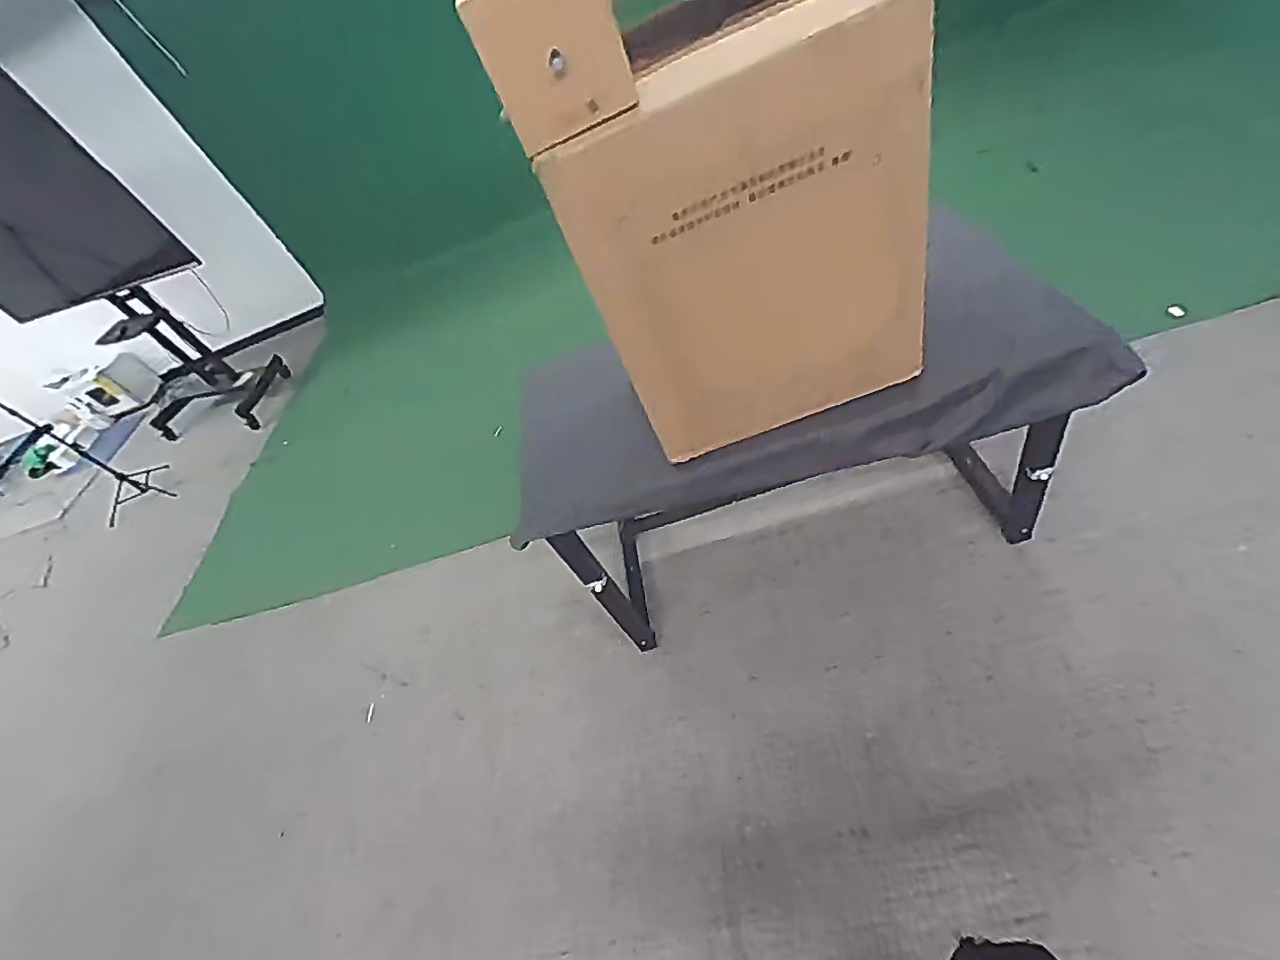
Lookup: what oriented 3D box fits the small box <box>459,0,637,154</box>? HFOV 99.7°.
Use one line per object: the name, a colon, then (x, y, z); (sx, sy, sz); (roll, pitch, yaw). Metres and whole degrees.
small box: (-0.115, -0.562, 0.708); (0.168, 0.176, 0.179); (-22, 46, 8)
